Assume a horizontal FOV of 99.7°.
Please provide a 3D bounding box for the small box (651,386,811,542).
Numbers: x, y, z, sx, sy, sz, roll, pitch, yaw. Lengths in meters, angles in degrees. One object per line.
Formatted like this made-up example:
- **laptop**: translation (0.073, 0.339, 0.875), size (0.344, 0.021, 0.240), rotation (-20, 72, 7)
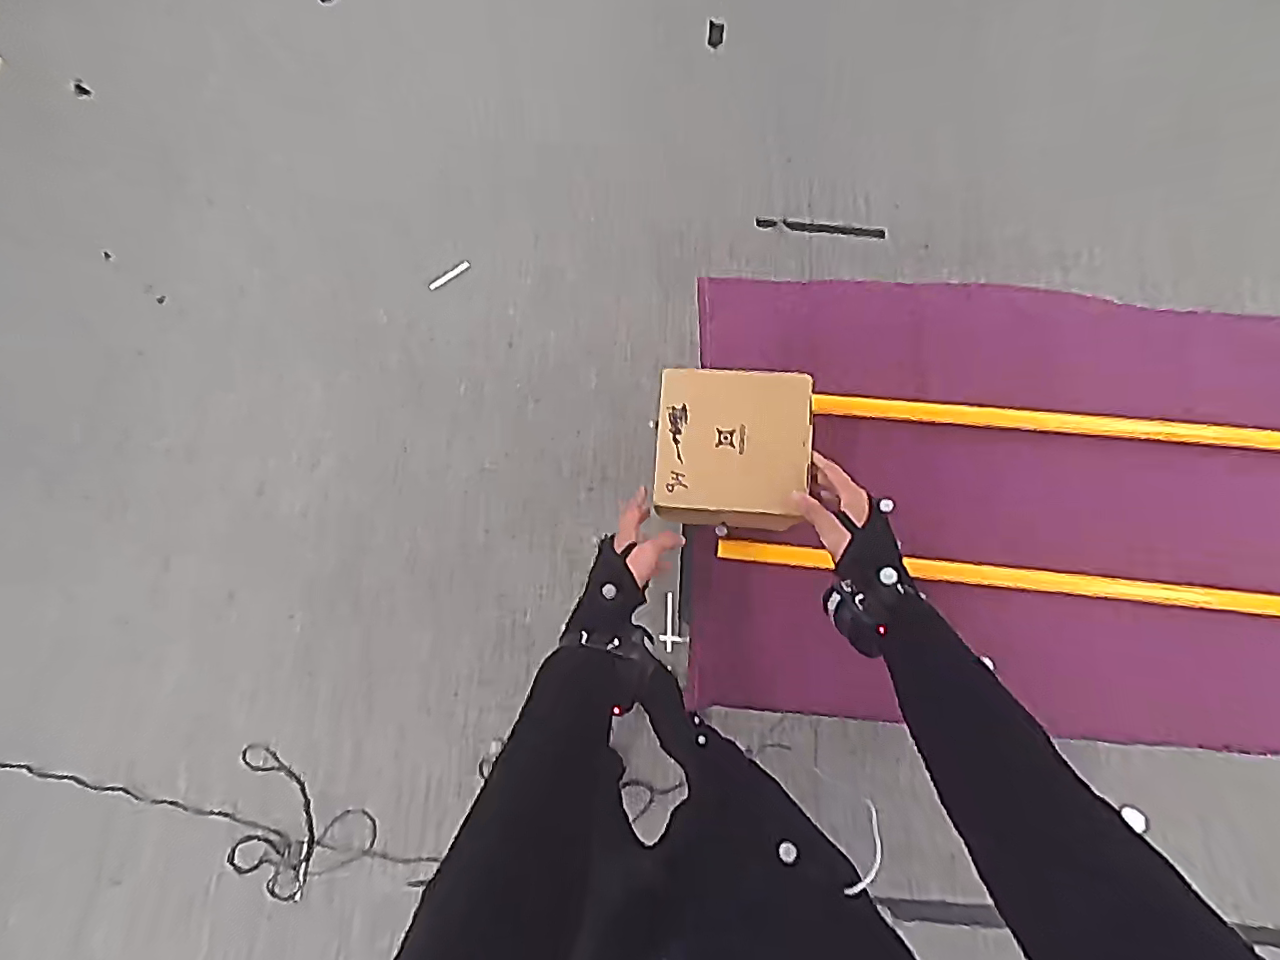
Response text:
- **small box**: translation (0.111, -0.011, 0.702), size (0.179, 0.176, 0.168), rotation (5, 80, 5)
